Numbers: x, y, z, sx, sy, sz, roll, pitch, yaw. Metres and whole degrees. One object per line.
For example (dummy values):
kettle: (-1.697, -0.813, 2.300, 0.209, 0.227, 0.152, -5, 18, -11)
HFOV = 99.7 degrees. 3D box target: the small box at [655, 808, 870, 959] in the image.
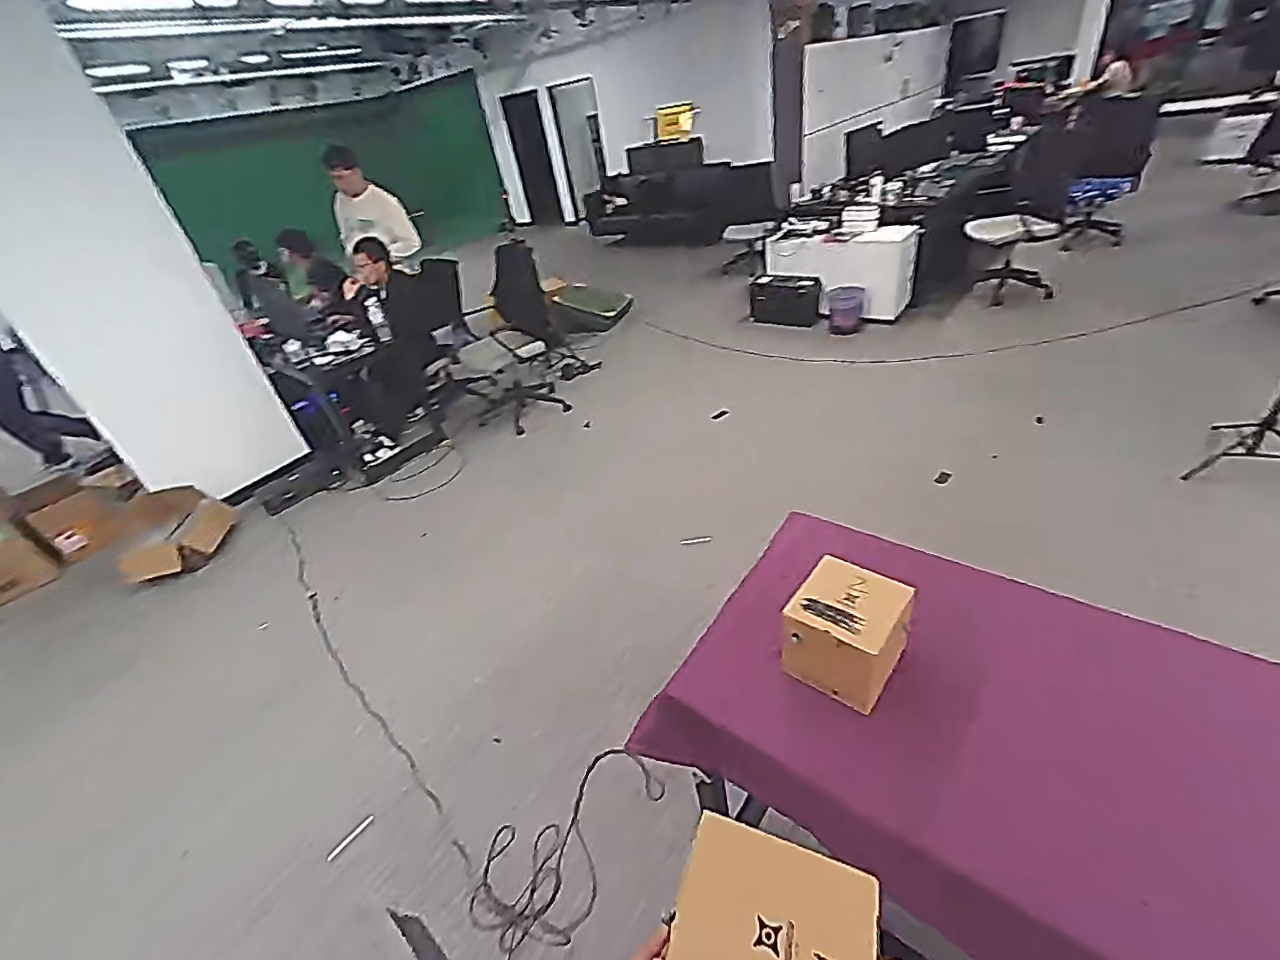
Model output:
small box: (0.108, 0.469, 0.527, 0.179, 0.176, 0.168, 16, 39, 13)
